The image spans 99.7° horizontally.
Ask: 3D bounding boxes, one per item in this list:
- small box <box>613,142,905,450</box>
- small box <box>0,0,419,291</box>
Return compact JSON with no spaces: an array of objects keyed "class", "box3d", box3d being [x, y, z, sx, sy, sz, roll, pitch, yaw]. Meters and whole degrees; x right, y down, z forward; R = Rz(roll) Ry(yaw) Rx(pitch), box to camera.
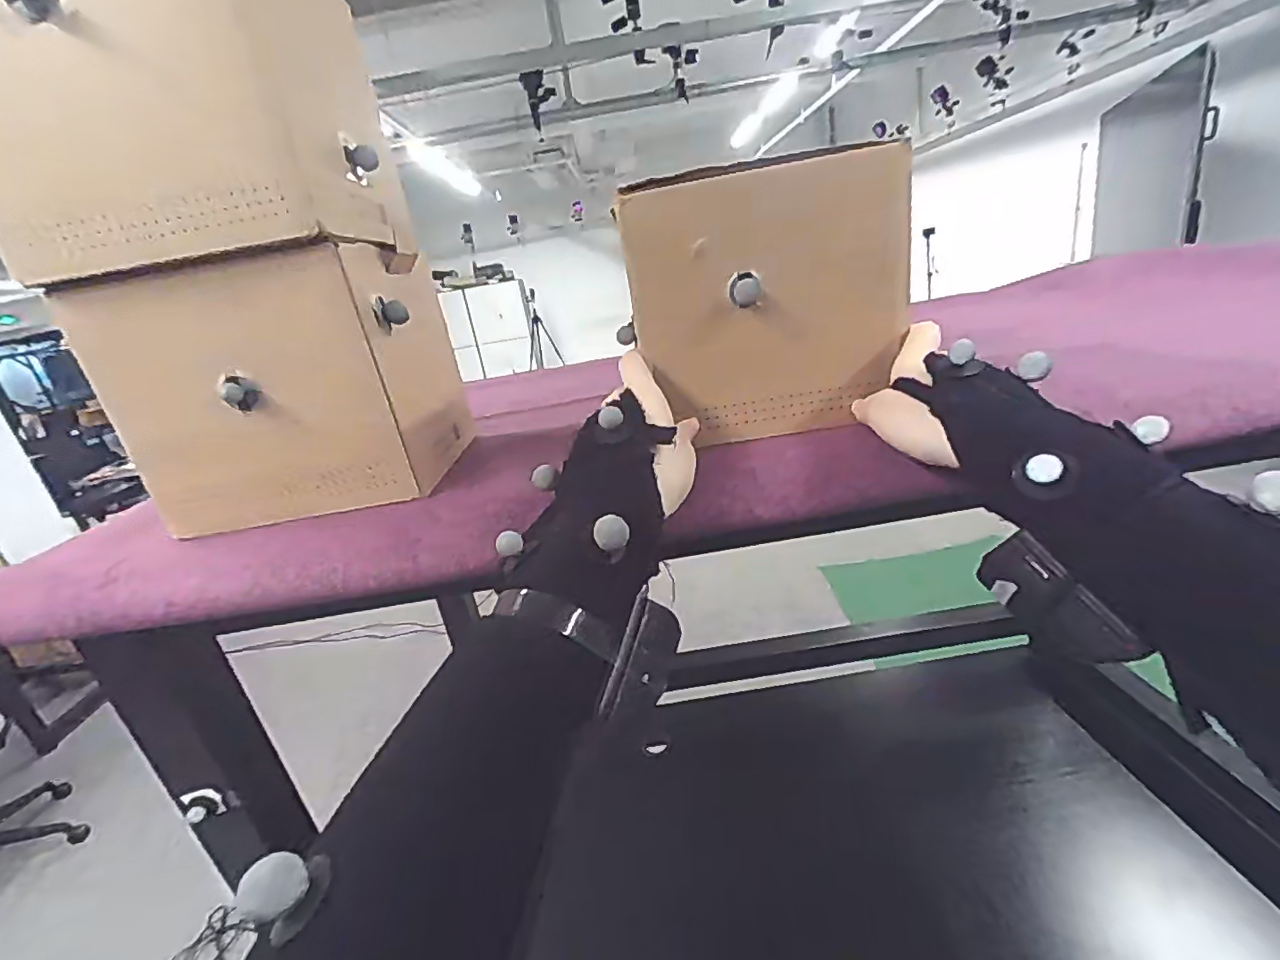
[{"class":"small box","box3d":[0.084,-0.130,0.416,0.179,0.176,0.168,-9,21,4]},{"class":"small box","box3d":[-0.274,-0.222,0.349,0.179,0.176,0.168,-9,21,0]}]
